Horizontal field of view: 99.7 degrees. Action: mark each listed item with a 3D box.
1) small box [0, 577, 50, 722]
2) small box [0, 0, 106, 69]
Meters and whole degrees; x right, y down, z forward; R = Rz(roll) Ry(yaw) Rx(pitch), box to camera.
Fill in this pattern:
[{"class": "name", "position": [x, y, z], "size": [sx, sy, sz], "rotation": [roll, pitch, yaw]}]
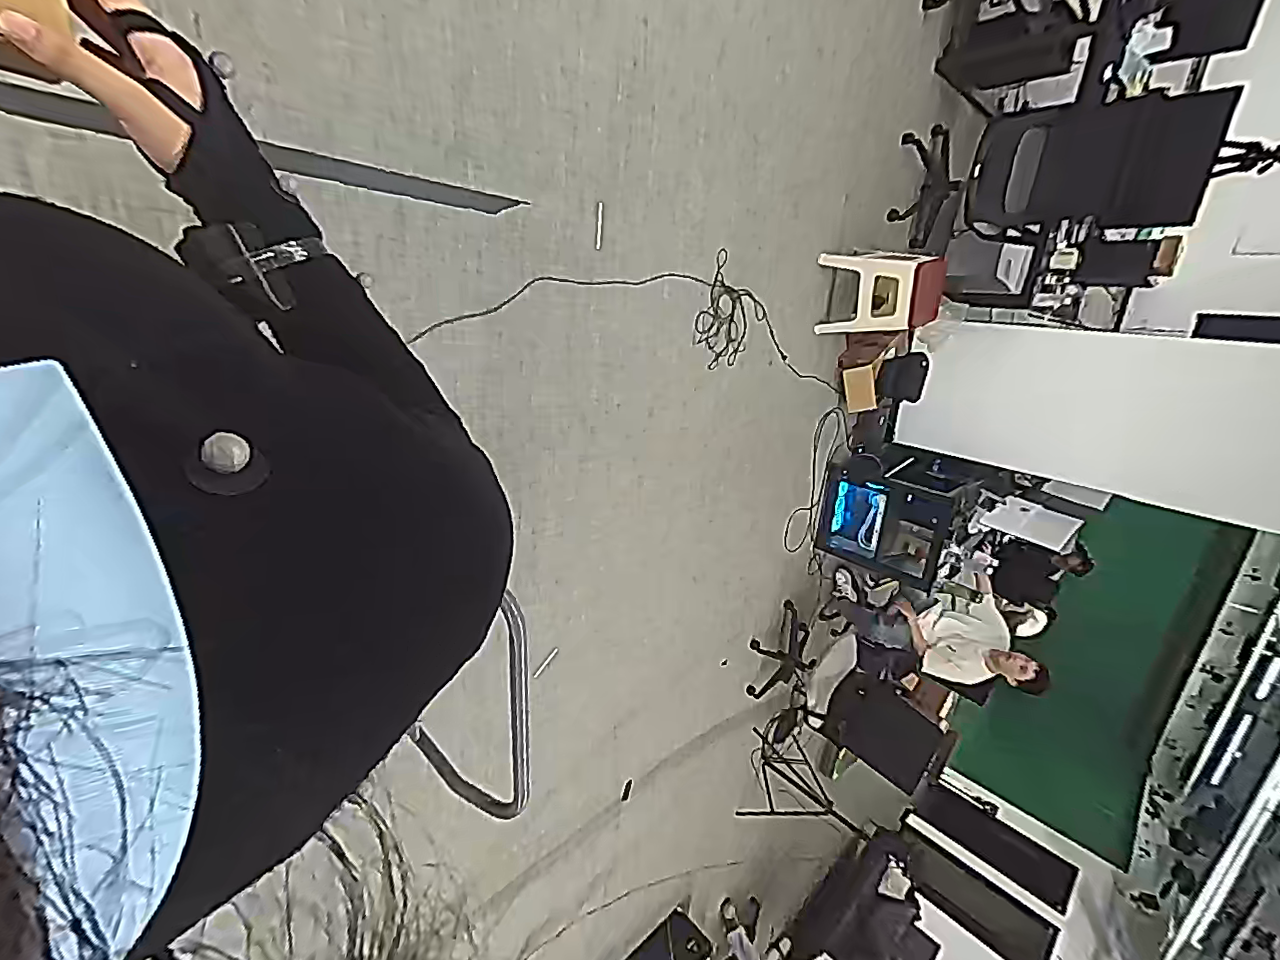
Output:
[{"class": "small box", "position": [-1.068, 0.279, 0.855], "size": [0.168, 0.176, 0.179], "rotation": [-9, 112, -44]}, {"class": "small box", "position": [-0.416, -0.350, 0.281], "size": [0.168, 0.176, 0.179], "rotation": [-13, 122, -46]}]
